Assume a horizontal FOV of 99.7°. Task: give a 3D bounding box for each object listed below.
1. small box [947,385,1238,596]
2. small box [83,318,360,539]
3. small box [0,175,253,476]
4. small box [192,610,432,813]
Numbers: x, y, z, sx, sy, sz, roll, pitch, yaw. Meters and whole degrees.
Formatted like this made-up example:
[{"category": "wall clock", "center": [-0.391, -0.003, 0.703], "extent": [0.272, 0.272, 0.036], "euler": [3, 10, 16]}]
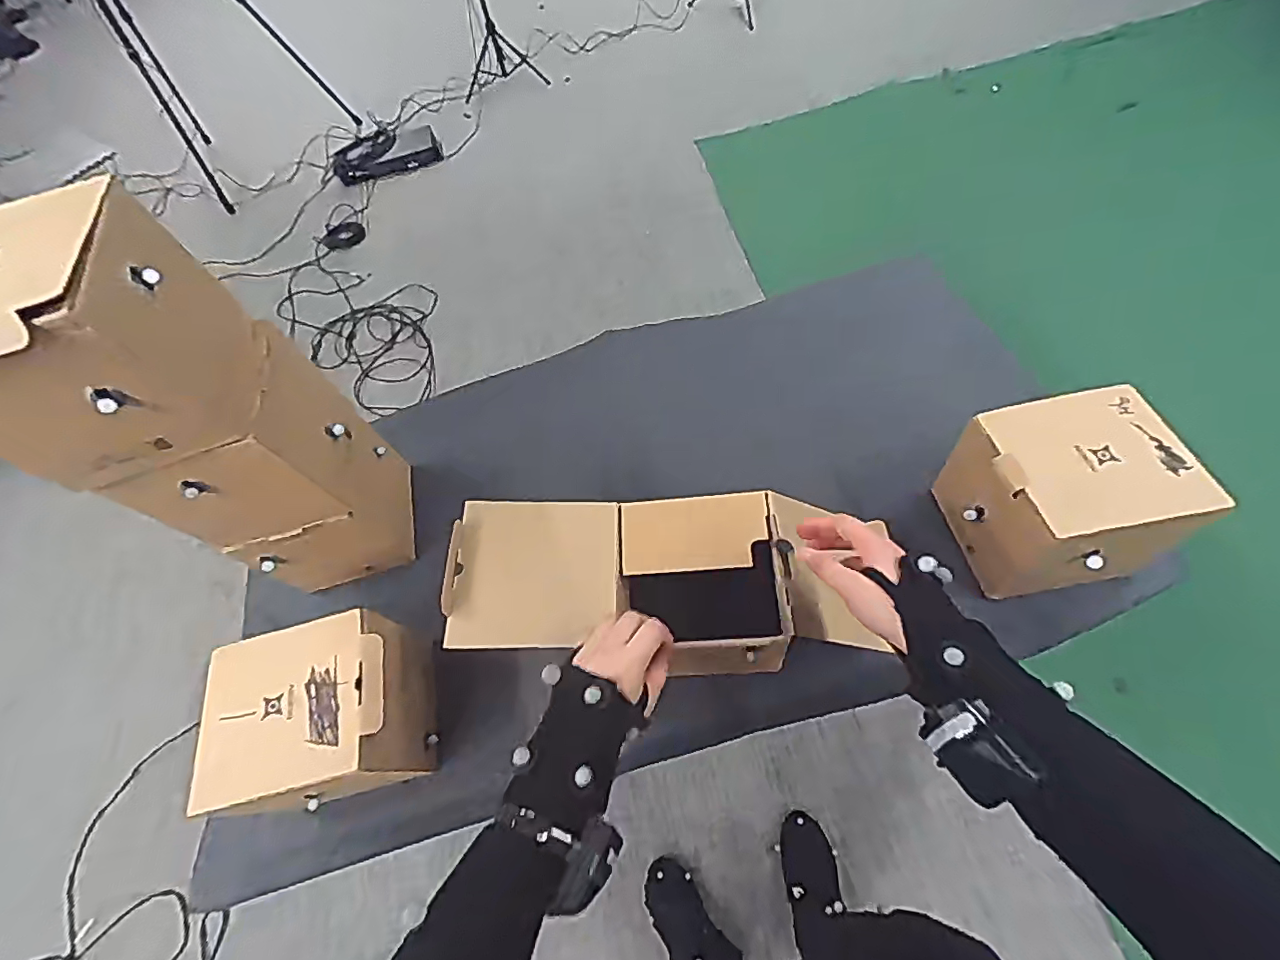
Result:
[{"category": "small box", "center": [0.486, 0.021, 0.625], "extent": [0.179, 0.176, 0.168], "euler": [-11, 57, 4]}, {"category": "small box", "center": [-0.455, -0.049, 0.622], "extent": [0.179, 0.176, 0.168], "euler": [-16, 62, 0]}, {"category": "small box", "center": [-0.482, -0.122, 0.479], "extent": [0.168, 0.176, 0.179], "euler": [-19, 60, -3]}, {"category": "small box", "center": [-0.356, 0.267, 0.627], "extent": [0.179, 0.176, 0.168], "euler": [-15, 61, 1]}]
